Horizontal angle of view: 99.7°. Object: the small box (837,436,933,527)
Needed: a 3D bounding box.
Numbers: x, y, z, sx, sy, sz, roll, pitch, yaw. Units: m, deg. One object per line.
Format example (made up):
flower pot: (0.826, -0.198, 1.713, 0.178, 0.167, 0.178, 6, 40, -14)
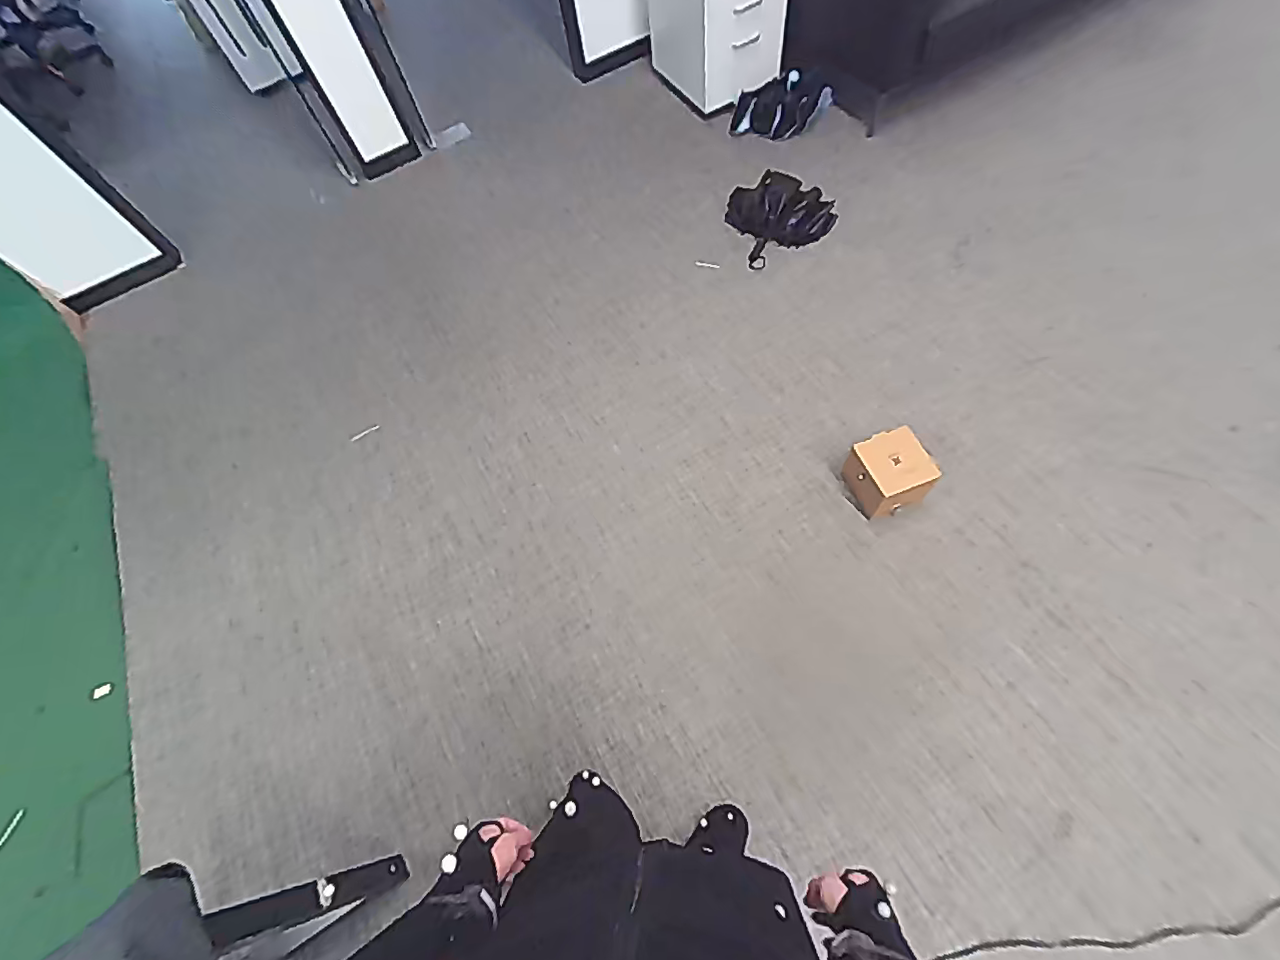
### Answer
small box: (0.689, 0.007, 1.548, 0.168, 0.176, 0.179, -20, 63, -3)
